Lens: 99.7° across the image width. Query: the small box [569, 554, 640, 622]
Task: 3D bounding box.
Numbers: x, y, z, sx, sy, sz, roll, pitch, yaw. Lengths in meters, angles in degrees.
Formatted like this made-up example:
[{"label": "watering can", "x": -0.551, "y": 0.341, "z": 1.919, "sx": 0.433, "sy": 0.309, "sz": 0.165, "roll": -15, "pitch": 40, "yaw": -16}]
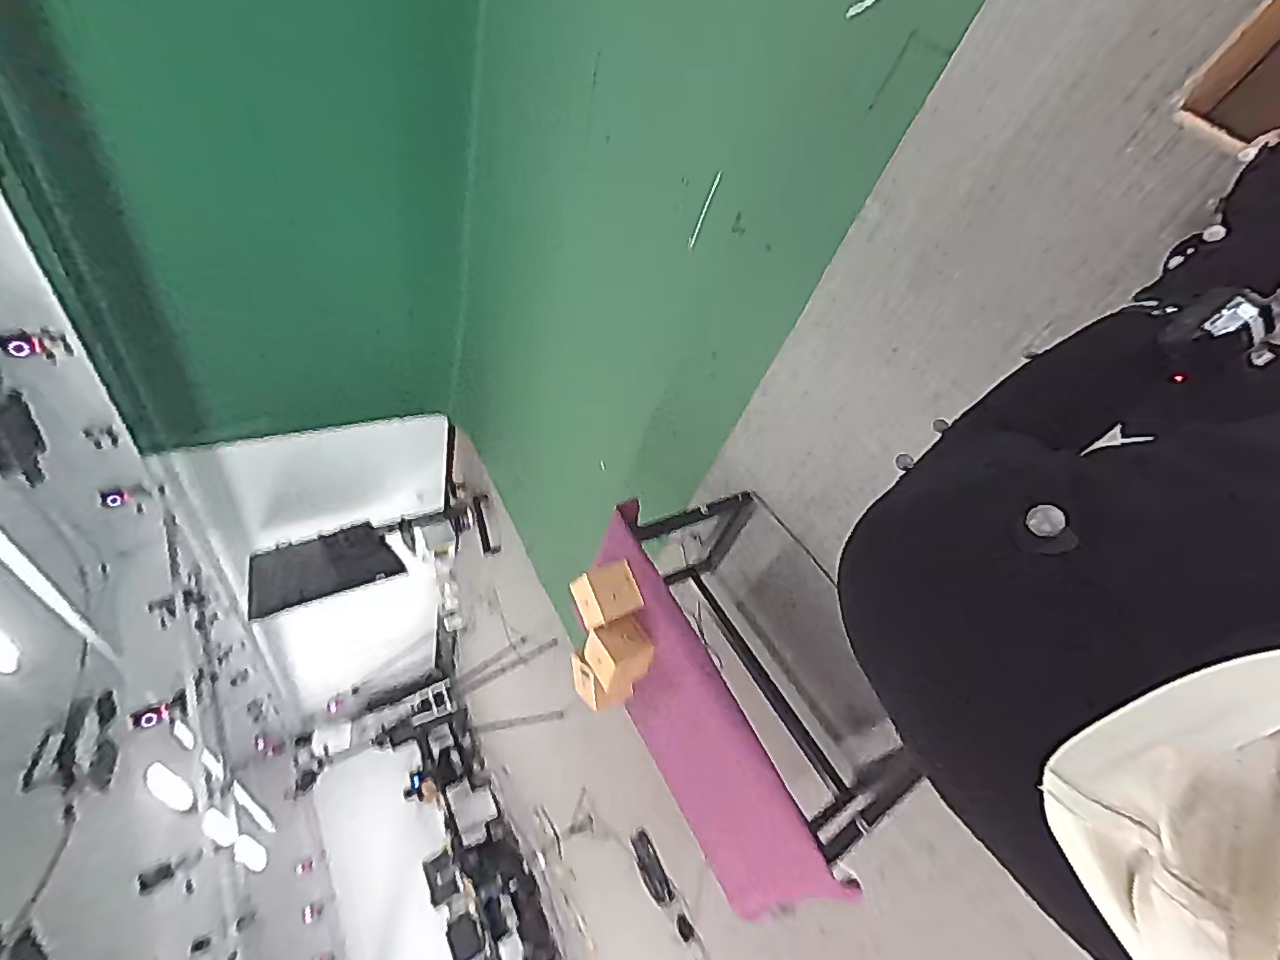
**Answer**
[{"label": "small box", "x": -0.120, "y": 0.376, "z": 1.893, "sx": 0.168, "sy": 0.176, "sz": 0.179, "roll": 65, "pitch": 148, "yaw": 11}]
